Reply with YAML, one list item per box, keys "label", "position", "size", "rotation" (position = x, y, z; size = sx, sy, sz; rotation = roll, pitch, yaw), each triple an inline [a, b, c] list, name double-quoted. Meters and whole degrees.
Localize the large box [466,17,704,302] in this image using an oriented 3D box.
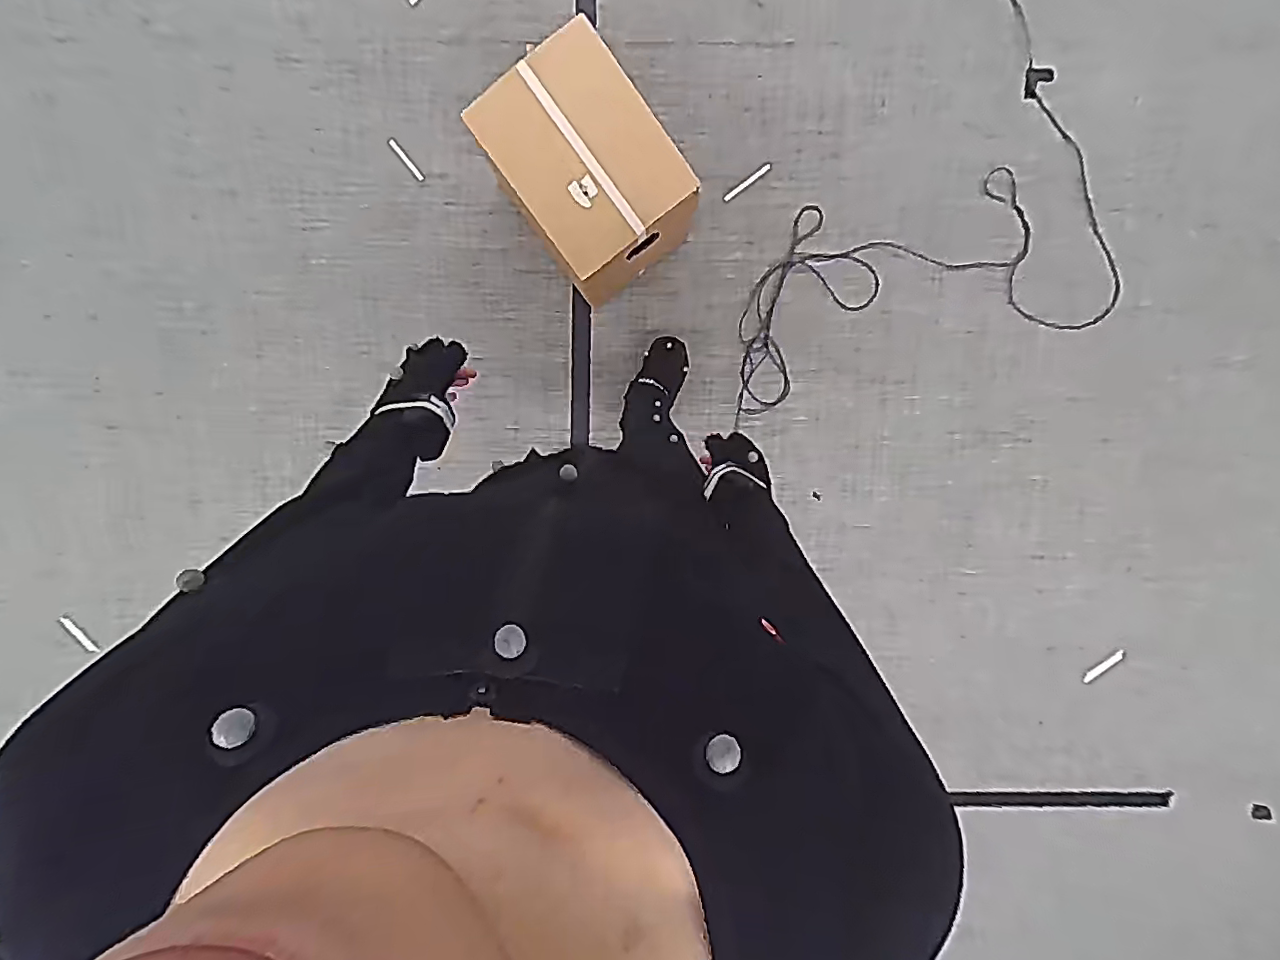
- label: "large box"
  position: [-0.113, -0.686, 1.236]
  size: [0.320, 0.320, 0.408]
  rotation: [-37, 97, 4]
